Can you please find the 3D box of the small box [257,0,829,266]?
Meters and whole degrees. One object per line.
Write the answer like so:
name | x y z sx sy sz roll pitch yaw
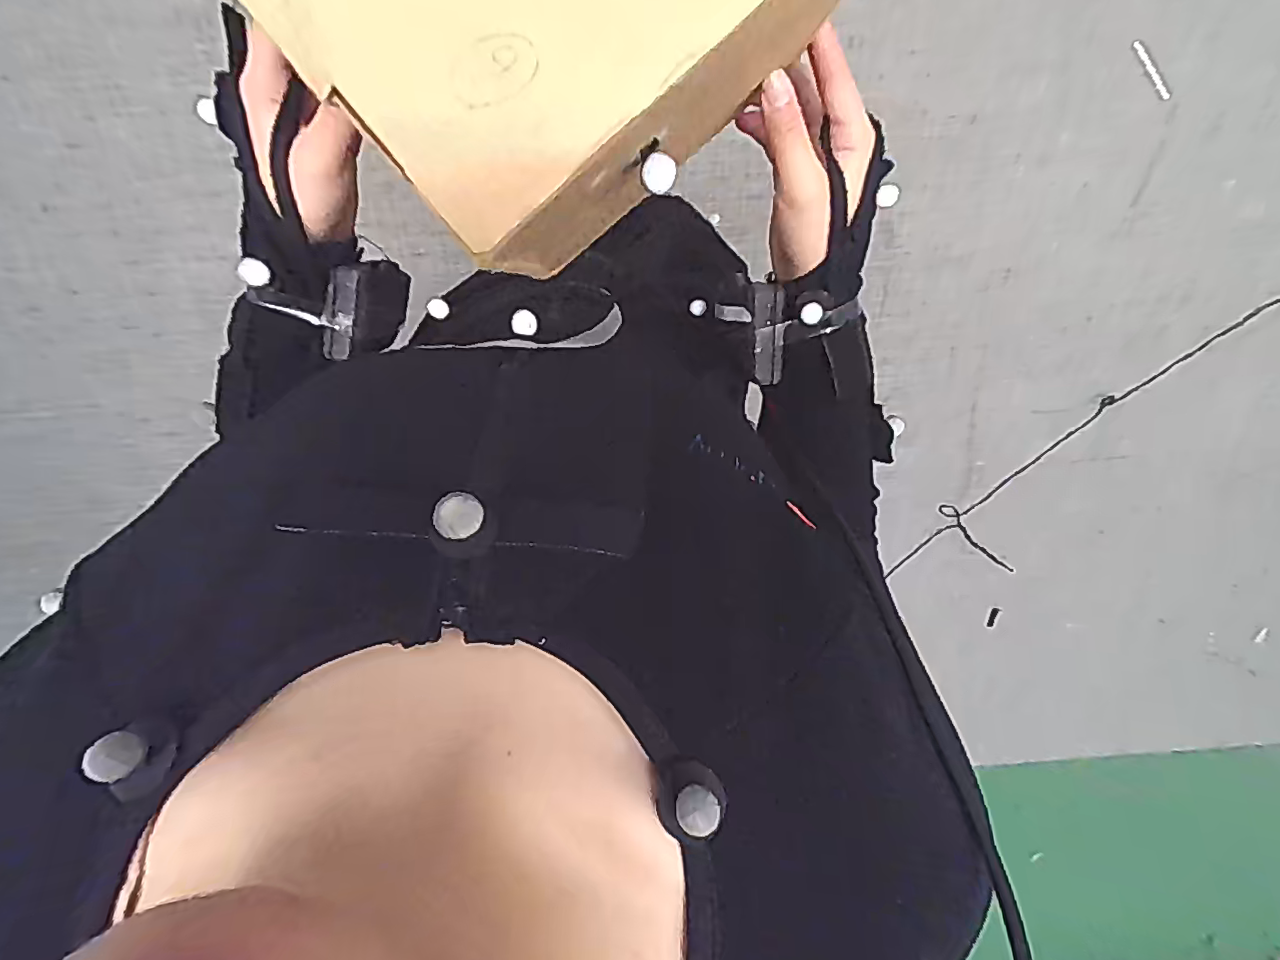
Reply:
small box | -0.033 -0.203 0.208 0.179 0.176 0.168 -36 106 11
